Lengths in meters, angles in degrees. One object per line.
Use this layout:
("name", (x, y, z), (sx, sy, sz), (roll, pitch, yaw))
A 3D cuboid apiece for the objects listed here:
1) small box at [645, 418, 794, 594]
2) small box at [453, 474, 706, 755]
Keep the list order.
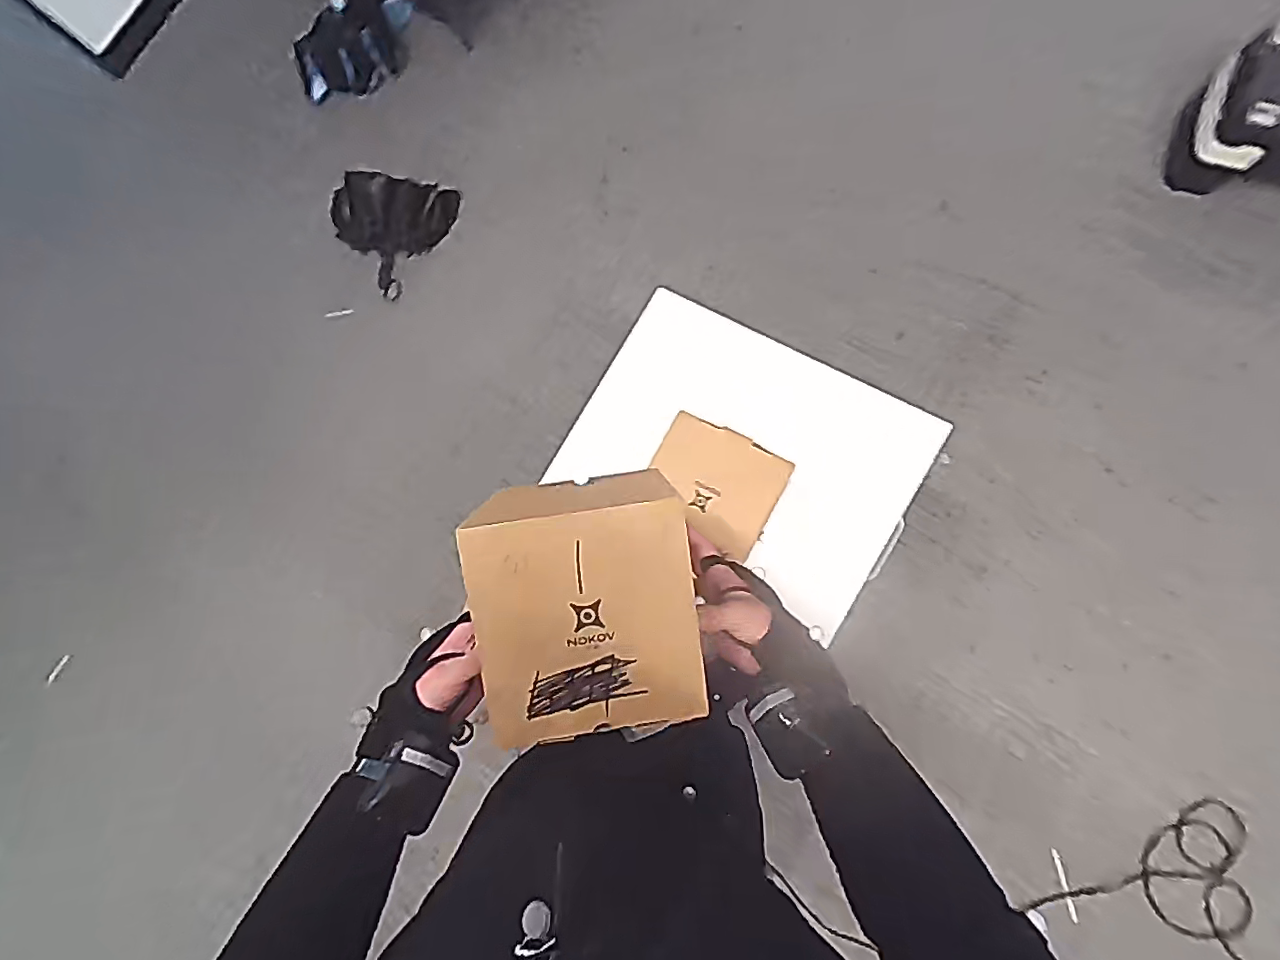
("small box", (0.093, 0.045, 0.756), (0.168, 0.176, 0.179), (27, 83, 14))
("small box", (-0.047, 0.100, 0.477), (0.168, 0.176, 0.179), (-10, 97, -5))
